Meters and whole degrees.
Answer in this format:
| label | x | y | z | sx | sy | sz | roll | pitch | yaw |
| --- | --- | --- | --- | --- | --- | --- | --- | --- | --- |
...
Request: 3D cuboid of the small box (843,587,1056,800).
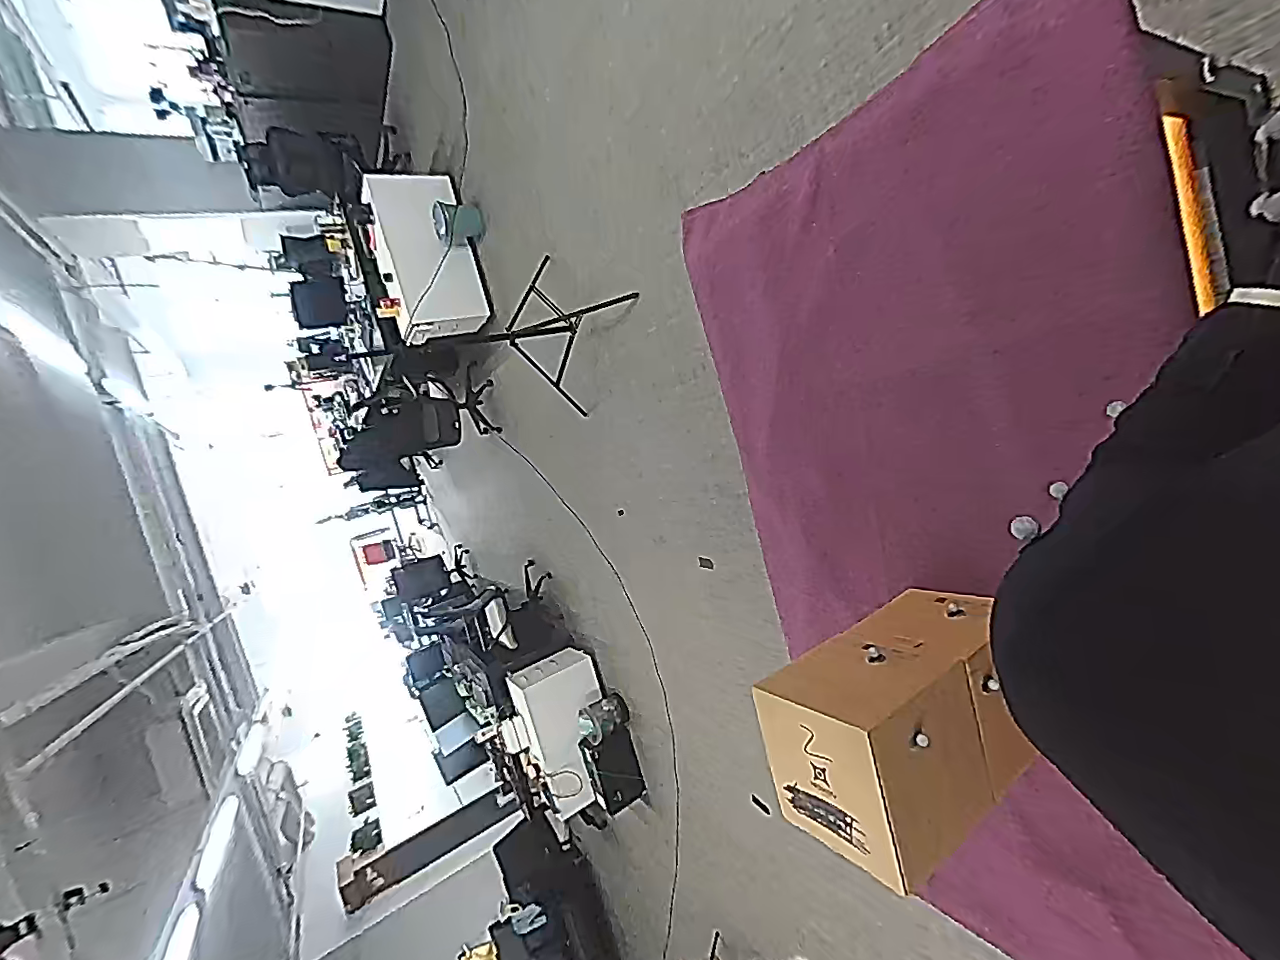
| label | x | y | z | sx | sy | sz | roll | pitch | yaw |
| --- | --- | --- | --- | --- | --- | --- | --- | --- | --- |
| small box | 0.401 | 0.258 | 0.701 | 0.168 | 0.176 | 0.179 | -7 | 99 | 60 |
